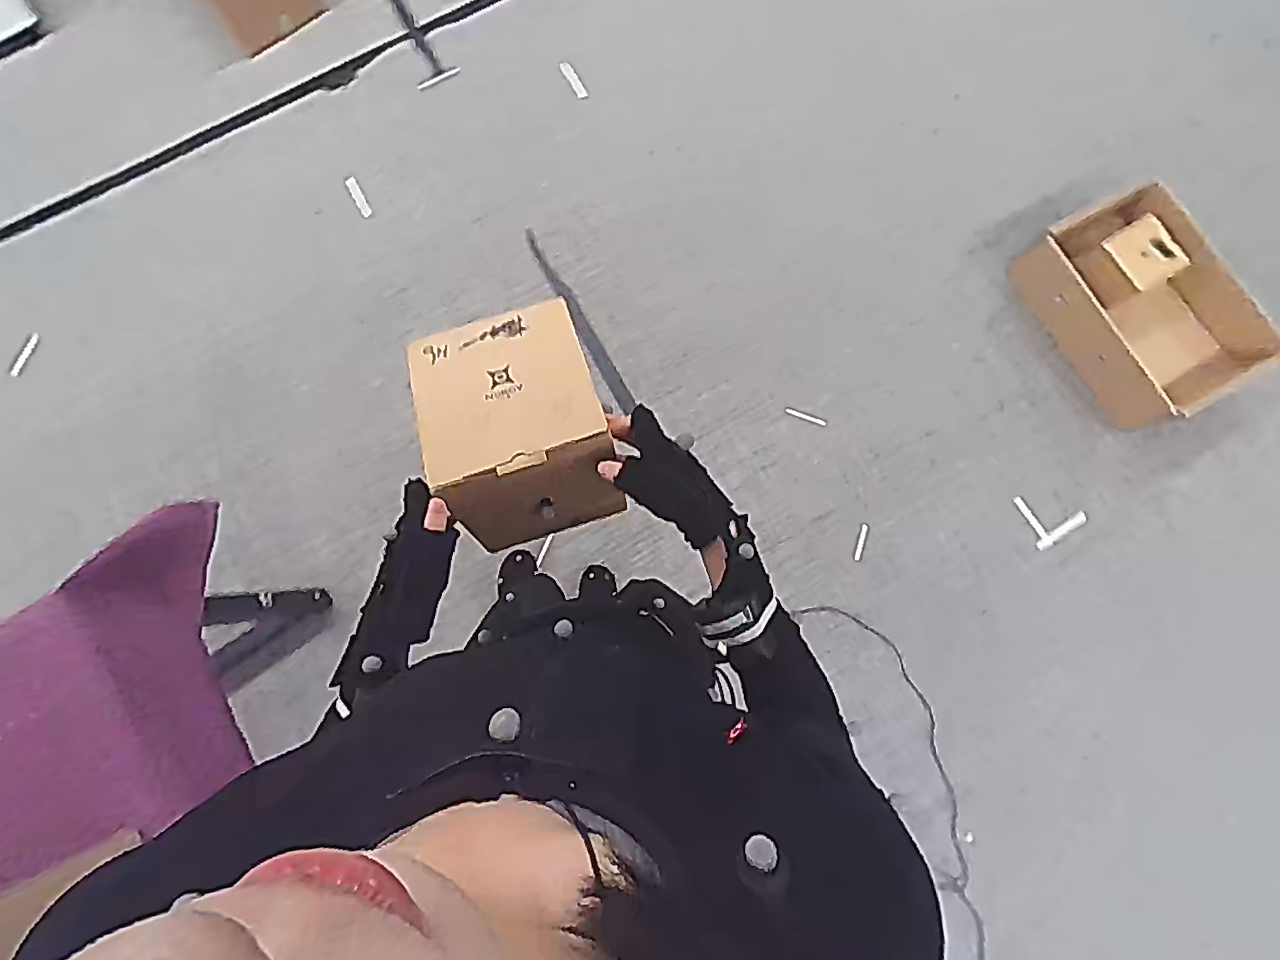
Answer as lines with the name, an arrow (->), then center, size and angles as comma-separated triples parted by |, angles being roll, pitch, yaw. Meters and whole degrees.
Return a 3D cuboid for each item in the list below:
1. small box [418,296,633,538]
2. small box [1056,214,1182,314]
small box -> -0.110, -0.053, 0.570 | 0.168, 0.176, 0.179 | -17, 63, -4
small box -> 1.369, -0.616, 1.559 | 0.179, 0.176, 0.168 | -31, 83, -6
